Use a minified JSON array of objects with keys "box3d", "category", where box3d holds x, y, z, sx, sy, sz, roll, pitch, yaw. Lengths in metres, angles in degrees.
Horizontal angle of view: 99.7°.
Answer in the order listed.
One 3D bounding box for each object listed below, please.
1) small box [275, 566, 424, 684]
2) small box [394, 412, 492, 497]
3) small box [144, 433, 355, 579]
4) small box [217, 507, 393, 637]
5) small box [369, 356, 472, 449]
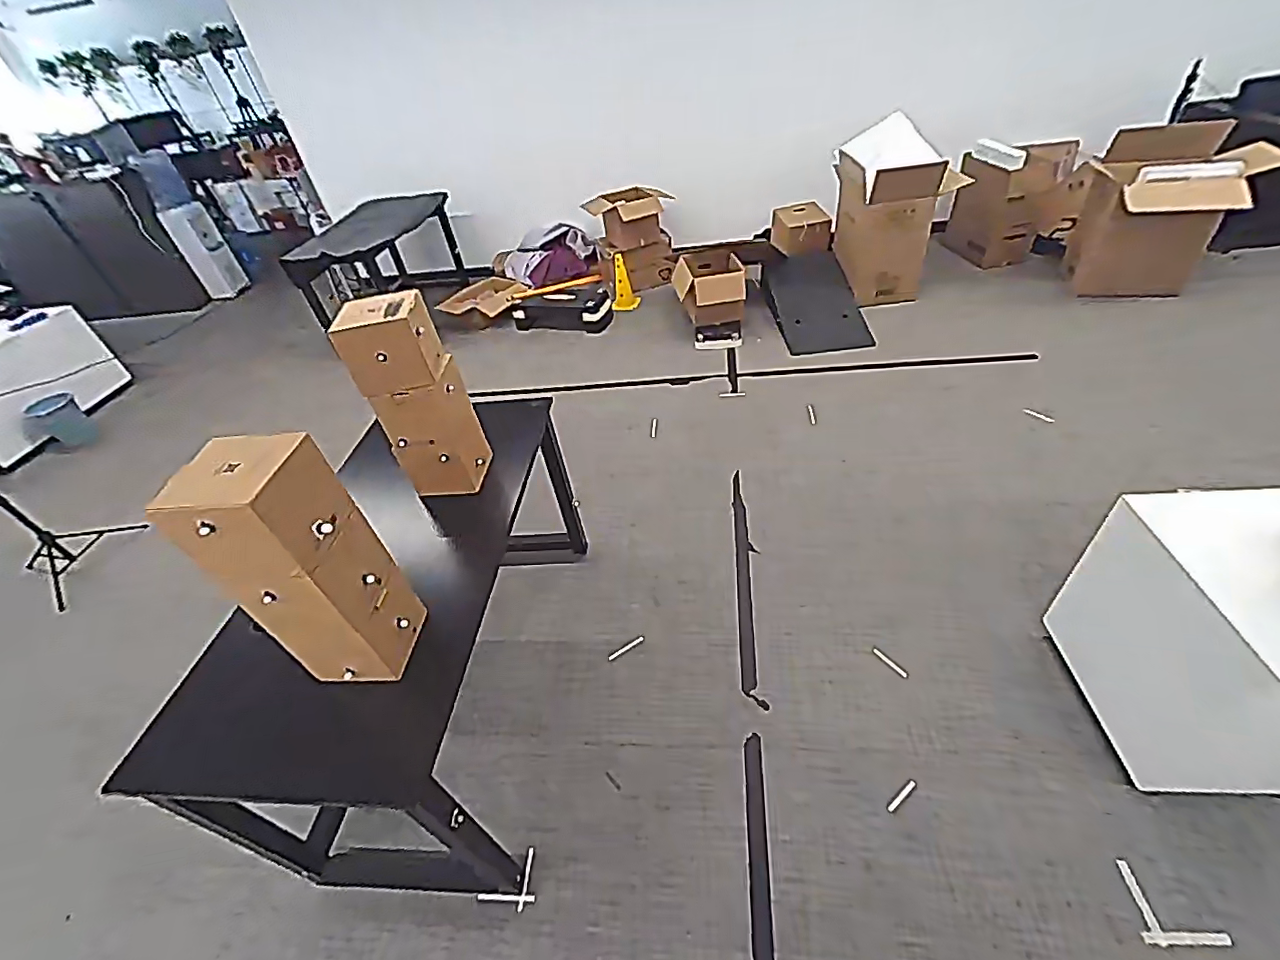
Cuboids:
[{"box3d":[-0.561,0.290,1.078,0.179,0.176,0.168,-3,41,6],"category":"small box"},{"box3d":[-0.529,-0.067,1.478,0.179,0.176,0.168,-3,41,7],"category":"small box"},{"box3d":[-0.603,0.045,0.864,0.179,0.176,0.168,-3,43,7],"category":"small box"},{"box3d":[-0.584,0.167,0.970,0.179,0.176,0.168,-3,42,7],"category":"small box"},{"box3d":[-0.544,-0.190,1.369,0.168,0.176,0.179,-5,41,4],"category":"small box"}]
